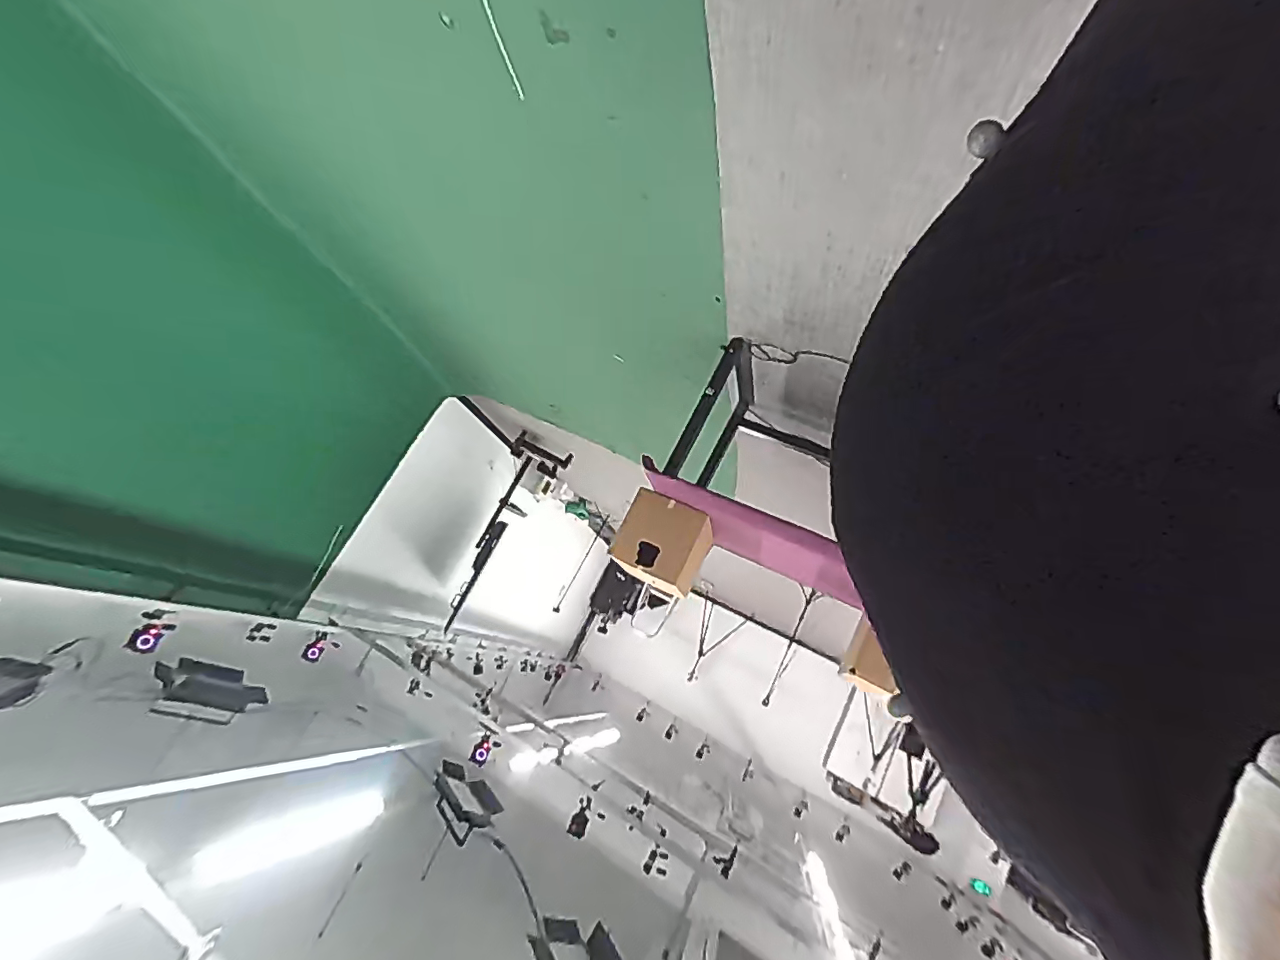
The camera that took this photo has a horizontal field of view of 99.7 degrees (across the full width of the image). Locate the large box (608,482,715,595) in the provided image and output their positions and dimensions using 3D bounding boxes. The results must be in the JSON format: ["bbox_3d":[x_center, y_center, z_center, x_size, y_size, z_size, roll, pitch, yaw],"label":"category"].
[{"bbox_3d":[0.109,0.257,2.298,0.320,0.320,0.408,22,165,18],"label":"large box"}]
